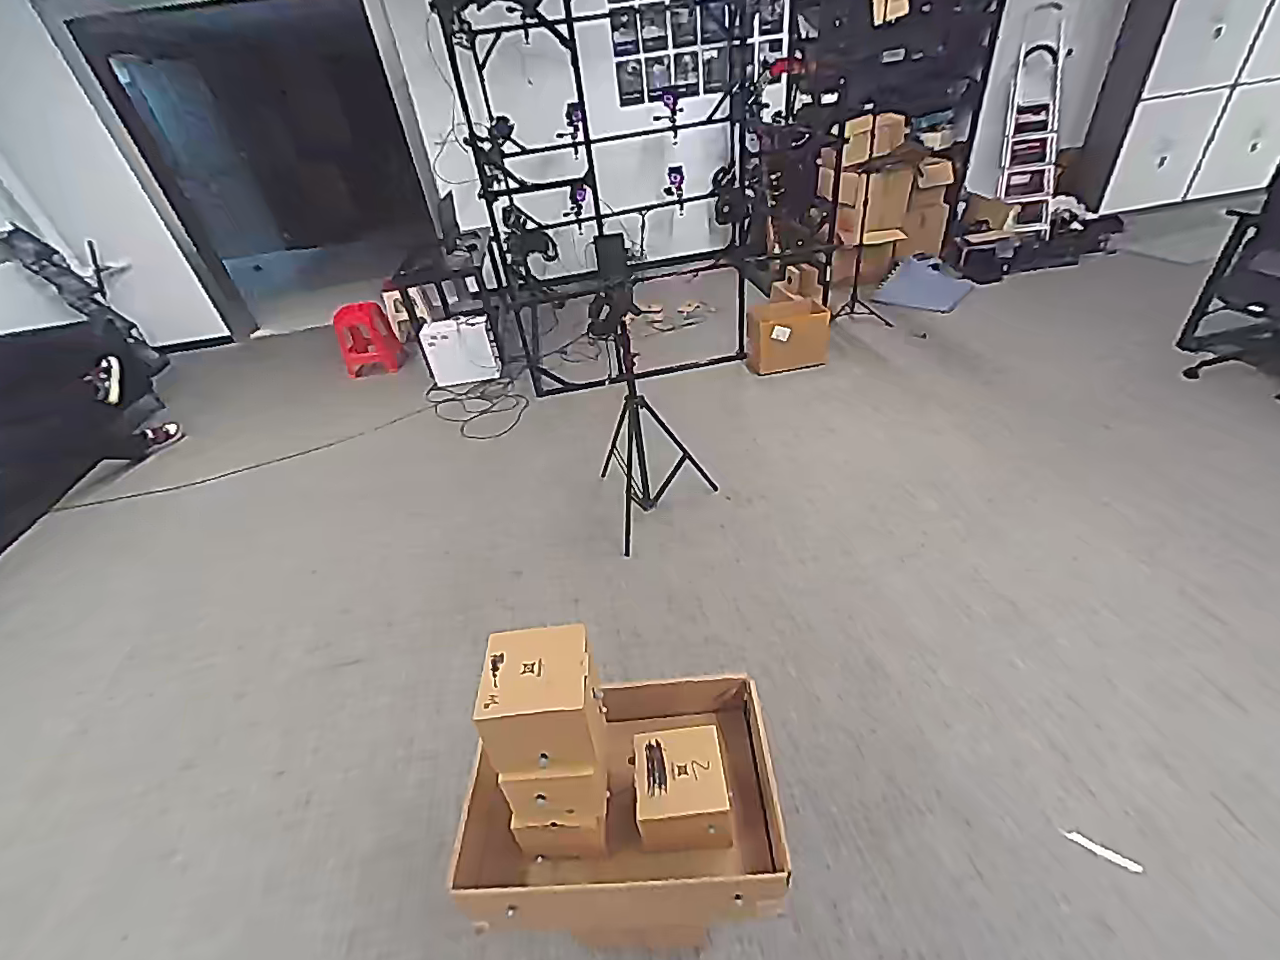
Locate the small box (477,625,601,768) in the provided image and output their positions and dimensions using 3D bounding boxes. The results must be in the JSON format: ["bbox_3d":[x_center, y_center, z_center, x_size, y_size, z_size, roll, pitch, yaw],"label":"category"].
[{"bbox_3d":[-0.162,0.375,0.939,0.179,0.176,0.168,-5,35,1],"label":"small box"}]

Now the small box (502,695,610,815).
[{"bbox_3d":[-0.148,0.513,1.027,0.168,0.176,0.179,-5,35,2],"label":"small box"}]
